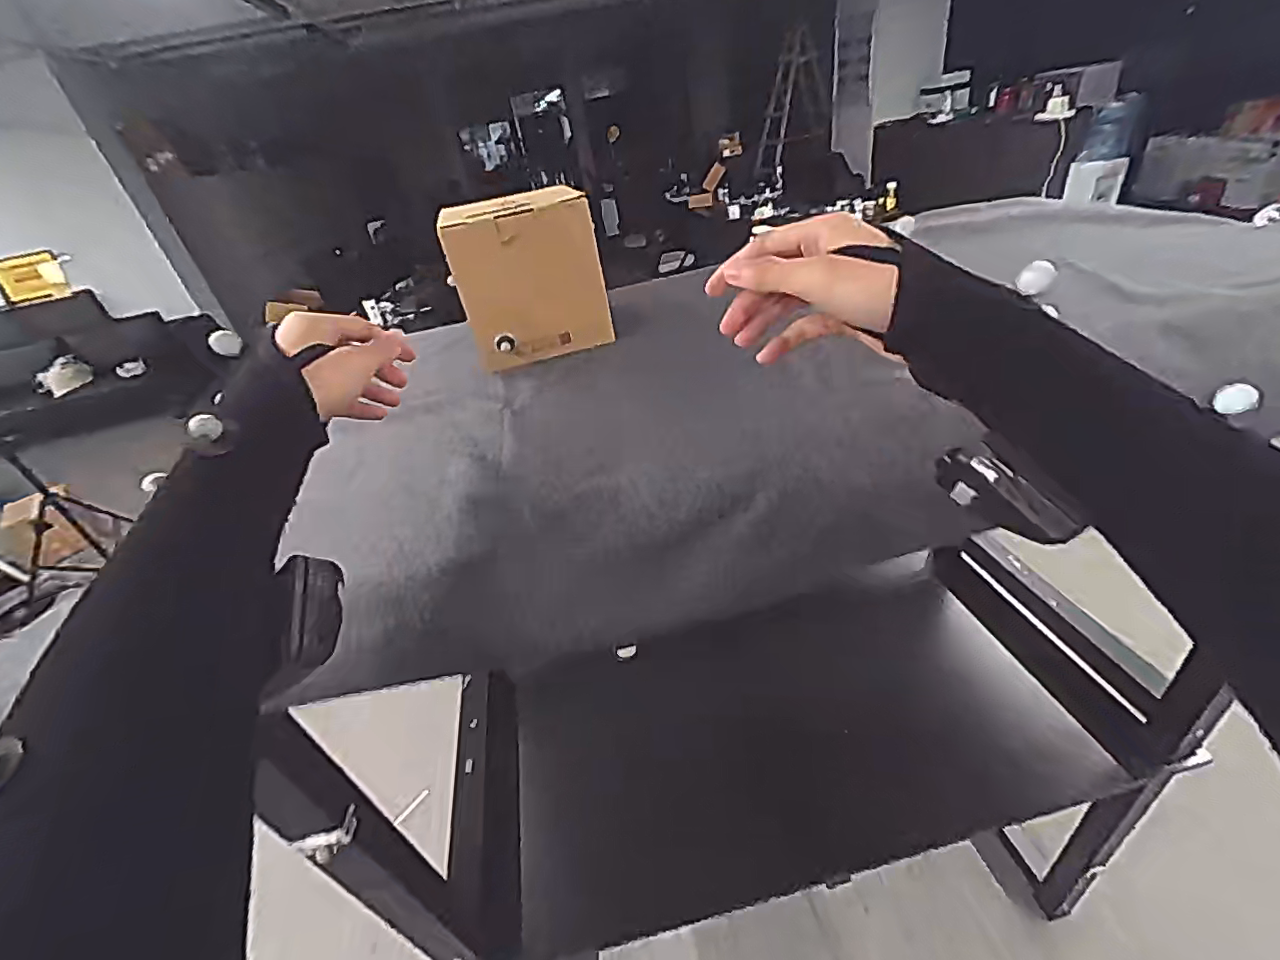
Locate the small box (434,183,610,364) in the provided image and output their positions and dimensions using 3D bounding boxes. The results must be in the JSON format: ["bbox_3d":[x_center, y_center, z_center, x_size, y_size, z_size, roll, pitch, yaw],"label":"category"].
[{"bbox_3d":[-0.145,-0.259,0.682,0.168,0.176,0.179,-16,34,-8],"label":"small box"}]
